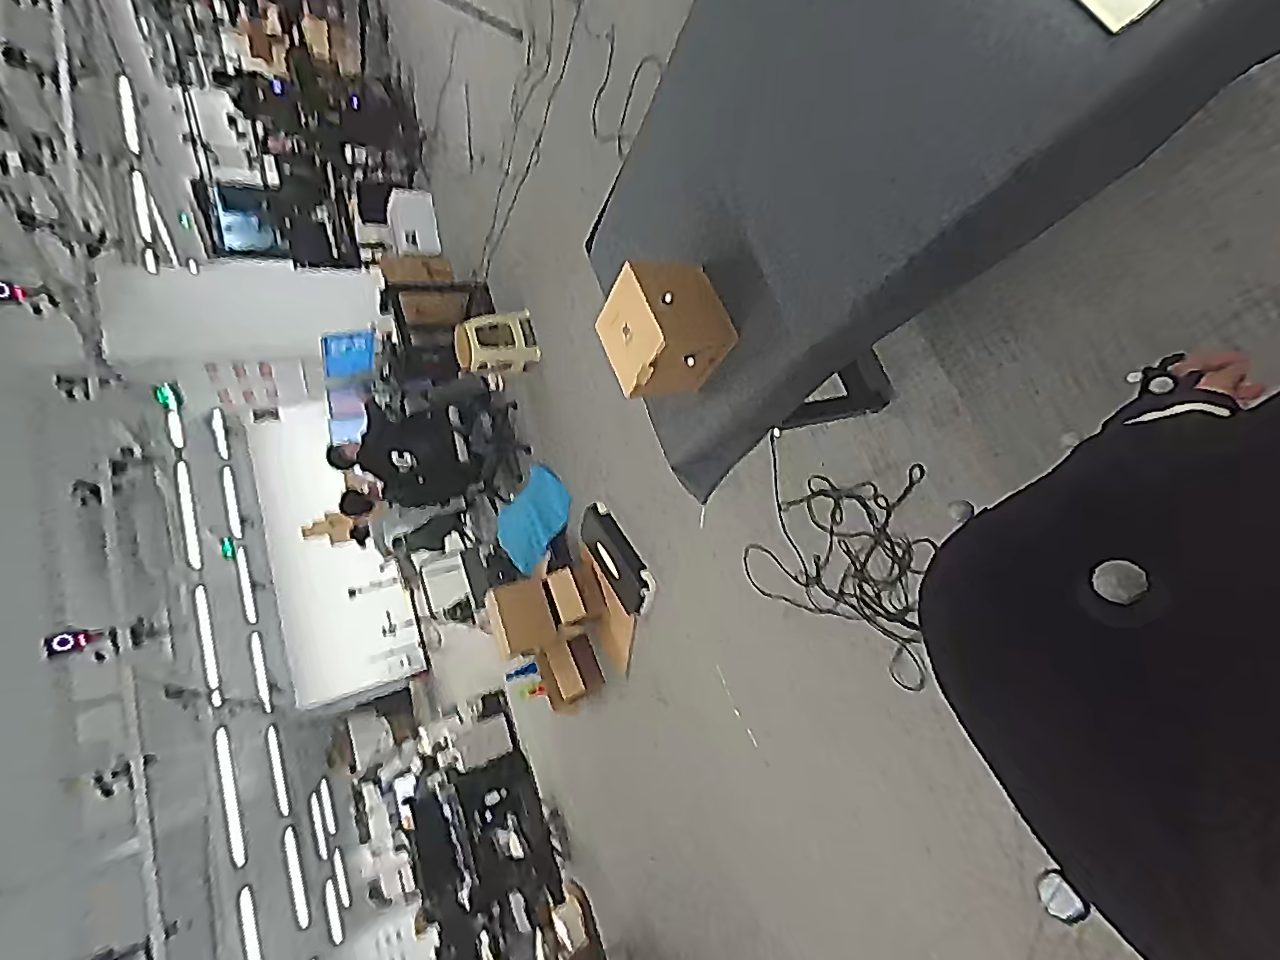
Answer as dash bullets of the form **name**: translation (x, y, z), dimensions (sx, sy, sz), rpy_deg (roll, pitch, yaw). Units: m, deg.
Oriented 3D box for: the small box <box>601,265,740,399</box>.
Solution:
- **small box**: translation (0.055, -0.273, 1.001), dimensions (0.168, 0.176, 0.179), rpy_deg (-49, 57, 52)
